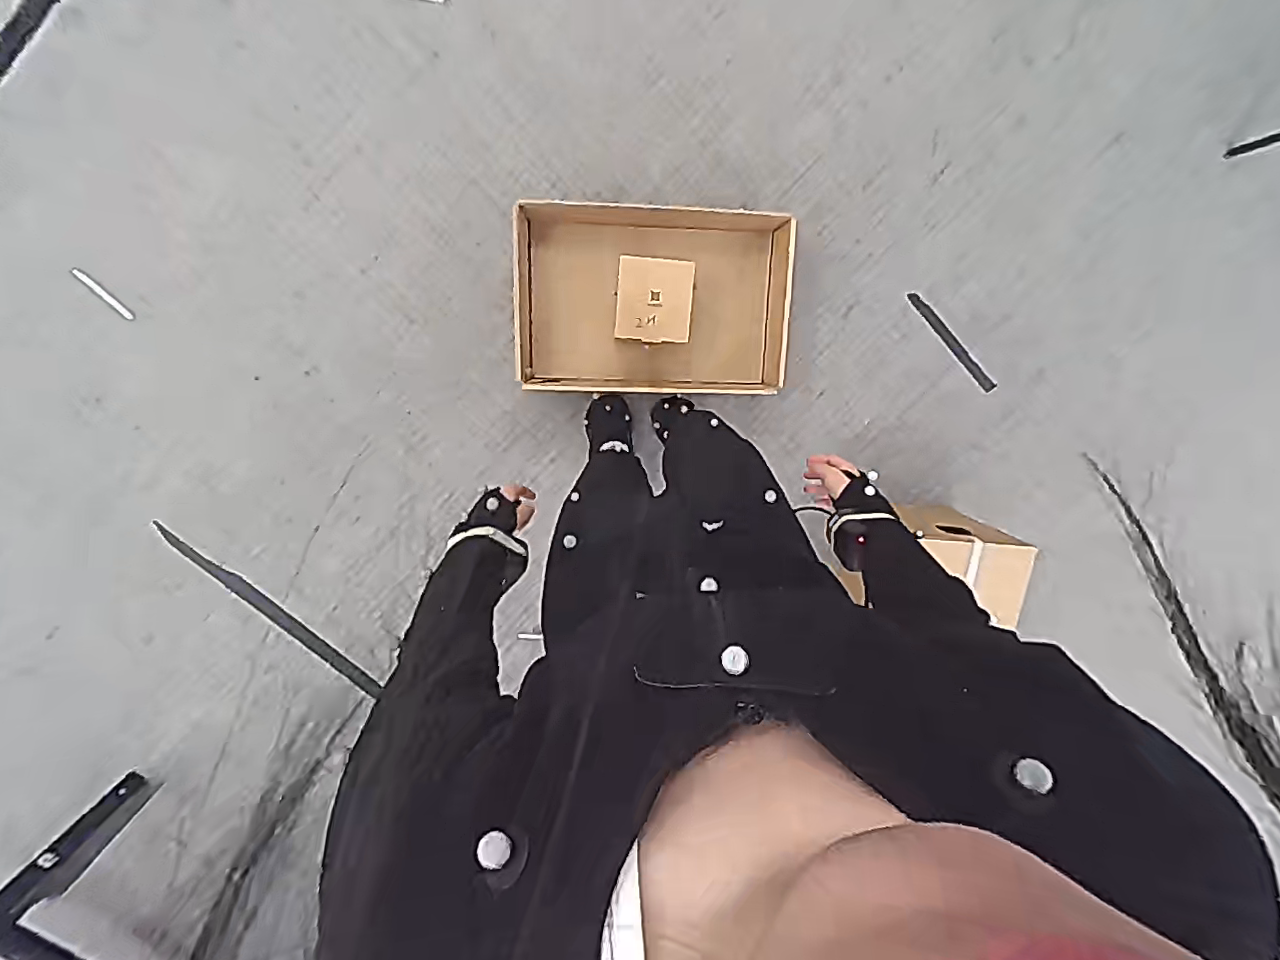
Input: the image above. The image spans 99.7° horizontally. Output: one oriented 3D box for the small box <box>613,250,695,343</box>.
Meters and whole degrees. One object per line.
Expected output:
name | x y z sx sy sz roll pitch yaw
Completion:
small box | 0.026 -0.416 1.253 0.168 0.176 0.179 4 103 -4
